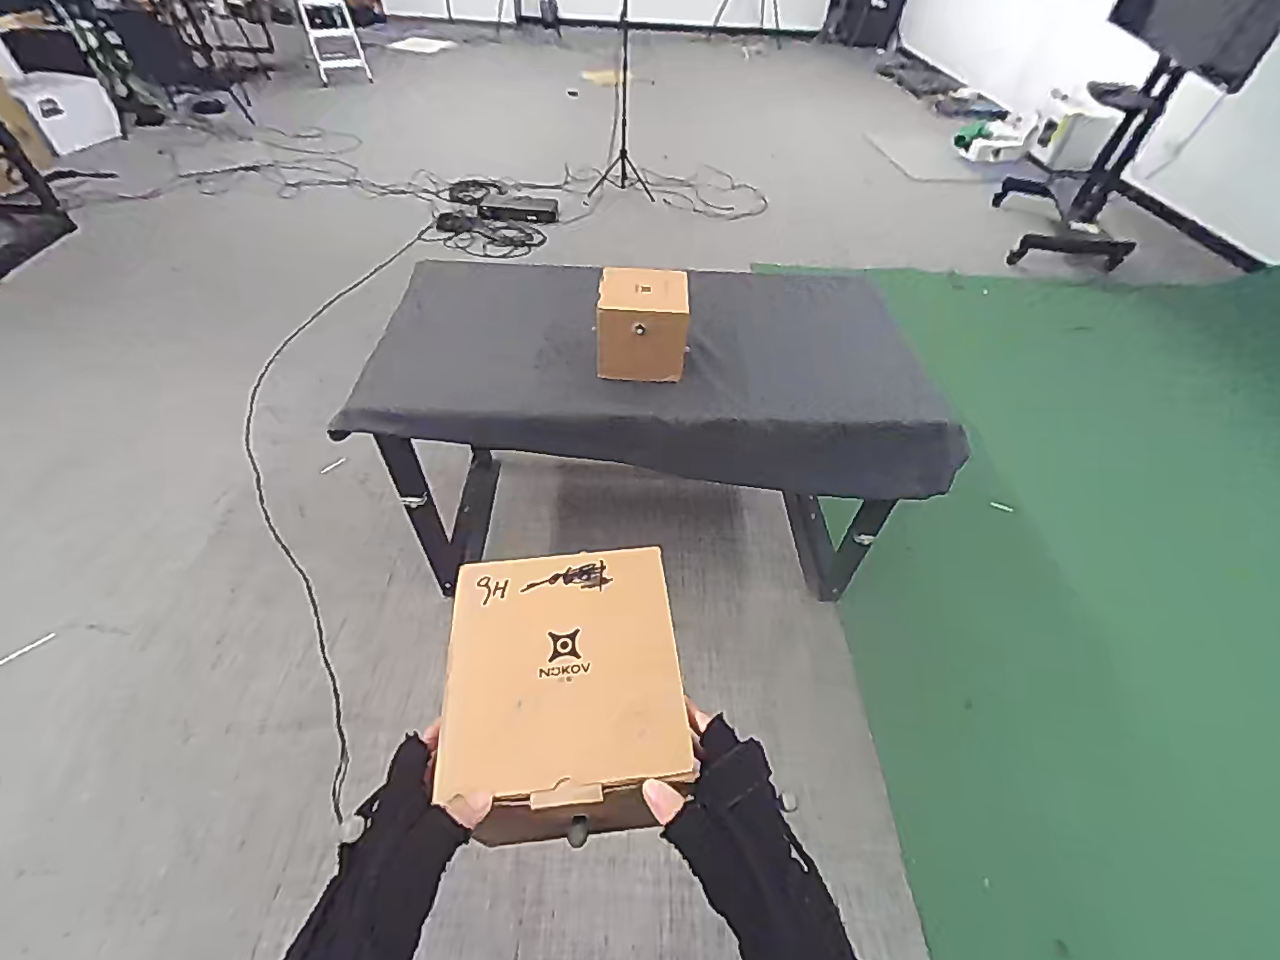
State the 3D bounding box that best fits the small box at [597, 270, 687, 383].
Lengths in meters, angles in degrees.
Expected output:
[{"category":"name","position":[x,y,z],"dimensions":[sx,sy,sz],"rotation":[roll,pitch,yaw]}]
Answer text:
[{"category":"small box","position":[0.003,-0.322,1.142],"dimensions":[0.179,0.176,0.168],"rotation":[3,48,-2]}]
